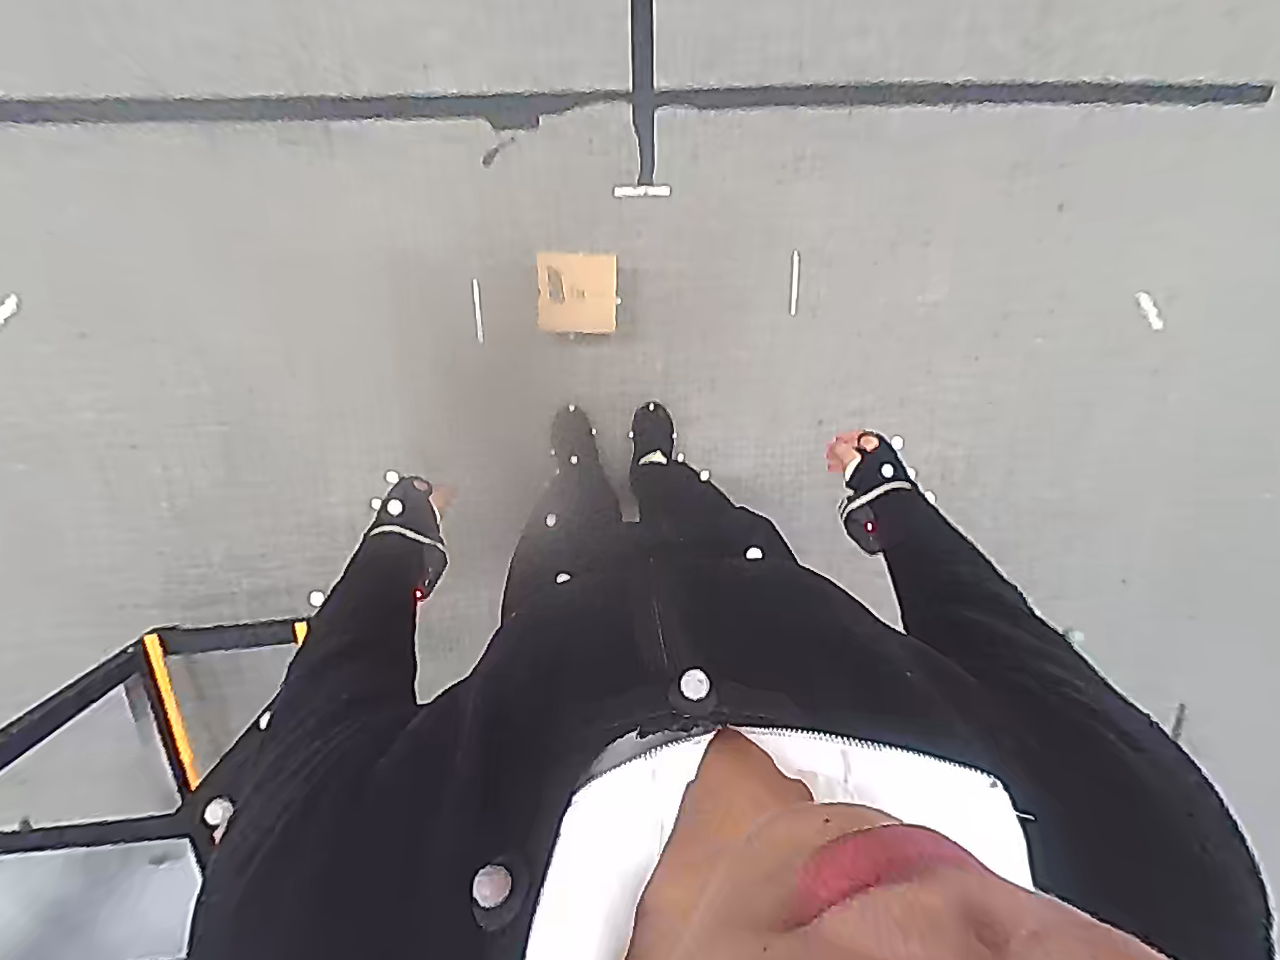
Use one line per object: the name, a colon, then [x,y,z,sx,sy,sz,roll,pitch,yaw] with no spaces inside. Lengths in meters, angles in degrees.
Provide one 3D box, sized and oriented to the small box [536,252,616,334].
small box: [-0.148,-0.431,1.270,0.179,0.176,0.168,0,105,-6]
